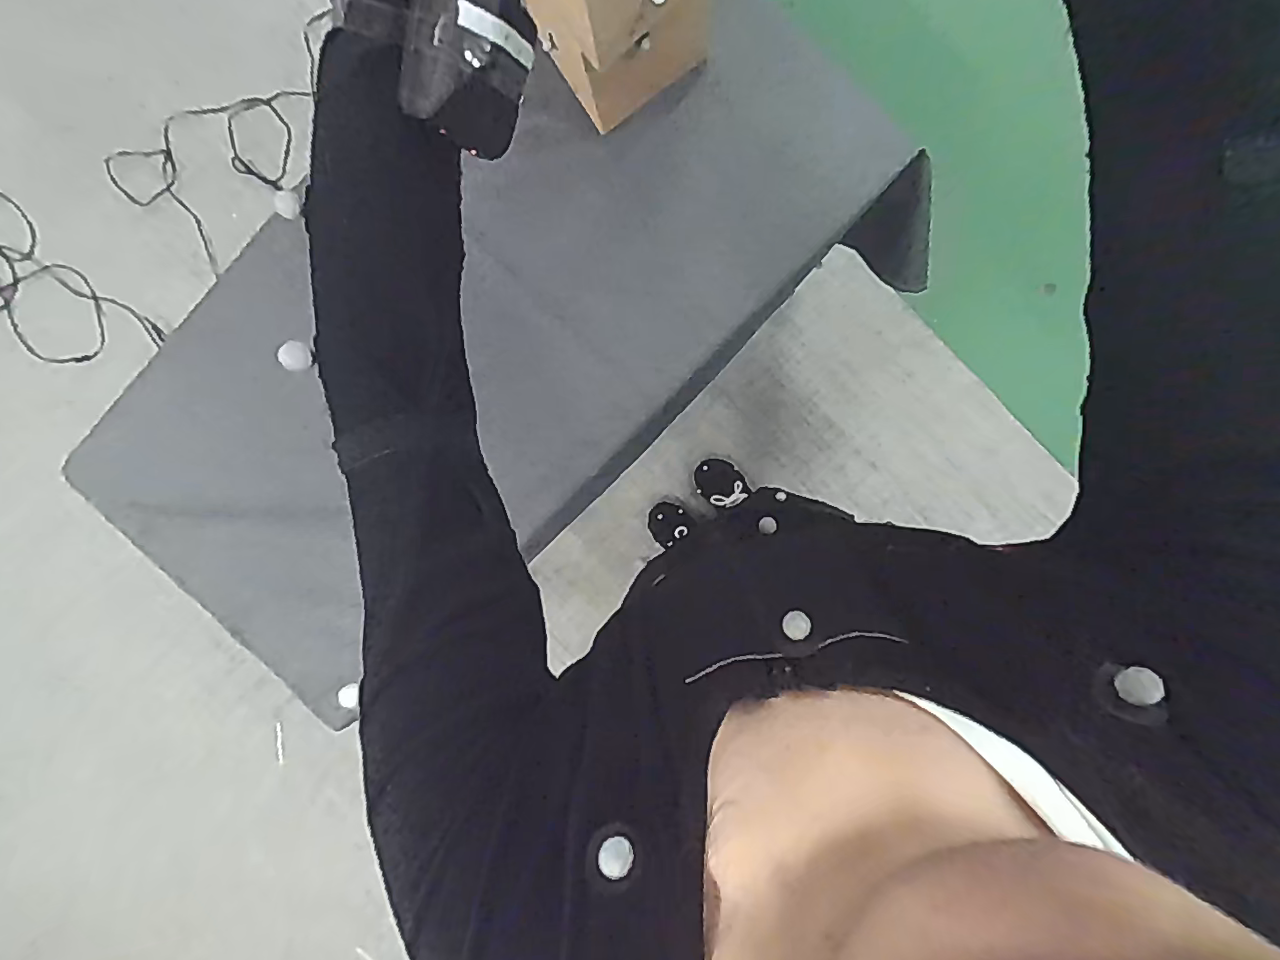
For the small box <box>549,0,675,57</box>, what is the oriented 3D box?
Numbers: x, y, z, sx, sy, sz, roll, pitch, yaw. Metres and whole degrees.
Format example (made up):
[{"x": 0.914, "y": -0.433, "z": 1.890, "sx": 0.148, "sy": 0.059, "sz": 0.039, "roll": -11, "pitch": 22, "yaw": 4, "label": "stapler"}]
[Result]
[{"x": -0.040, "y": -0.547, "z": 0.483, "sx": 0.168, "sy": 0.176, "sz": 0.179, "roll": -39, "pitch": 92, "yaw": 8, "label": "small box"}]

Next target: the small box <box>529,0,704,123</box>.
[{"x": -0.032, "y": -0.581, "z": 0.644, "sx": 0.179, "sy": 0.176, "sz": 0.168, "roll": -33, "pitch": 92, "yaw": 6, "label": "small box"}]
